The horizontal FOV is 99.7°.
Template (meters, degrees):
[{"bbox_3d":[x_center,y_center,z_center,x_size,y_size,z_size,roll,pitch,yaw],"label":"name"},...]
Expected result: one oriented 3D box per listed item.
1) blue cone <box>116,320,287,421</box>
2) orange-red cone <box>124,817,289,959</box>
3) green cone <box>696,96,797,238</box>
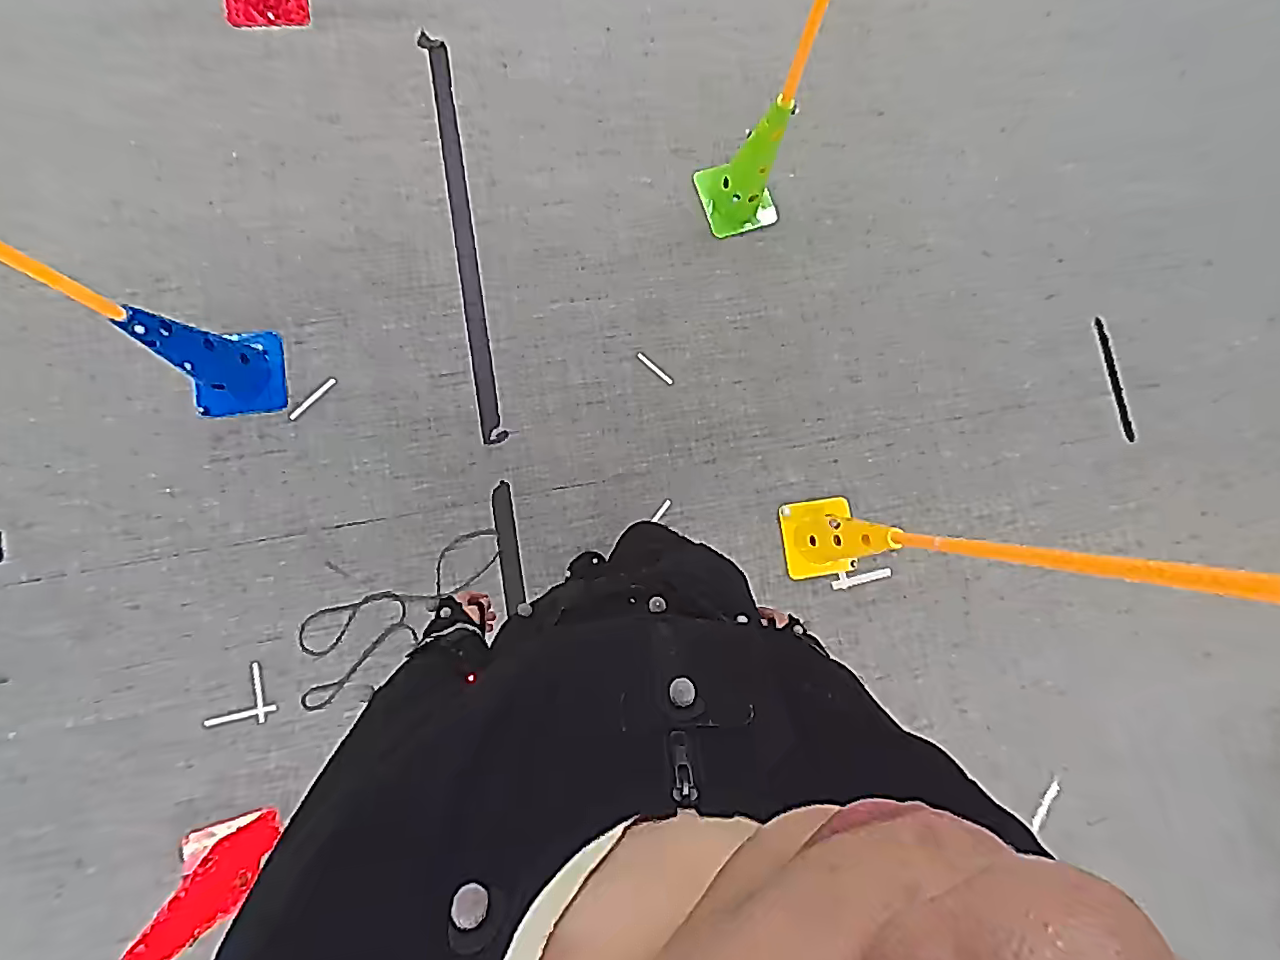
[{"bbox_3d":[-0.940,-0.259,1.143,0.193,0.380,0.192,-6,85,-8],"label":"blue cone"},{"bbox_3d":[-0.864,0.842,1.017,0.199,0.360,0.198,-14,86,-10],"label":"orange-red cone"},{"bbox_3d":[0.294,-0.806,1.348,0.200,0.368,0.202,-20,89,-9],"label":"green cone"}]
